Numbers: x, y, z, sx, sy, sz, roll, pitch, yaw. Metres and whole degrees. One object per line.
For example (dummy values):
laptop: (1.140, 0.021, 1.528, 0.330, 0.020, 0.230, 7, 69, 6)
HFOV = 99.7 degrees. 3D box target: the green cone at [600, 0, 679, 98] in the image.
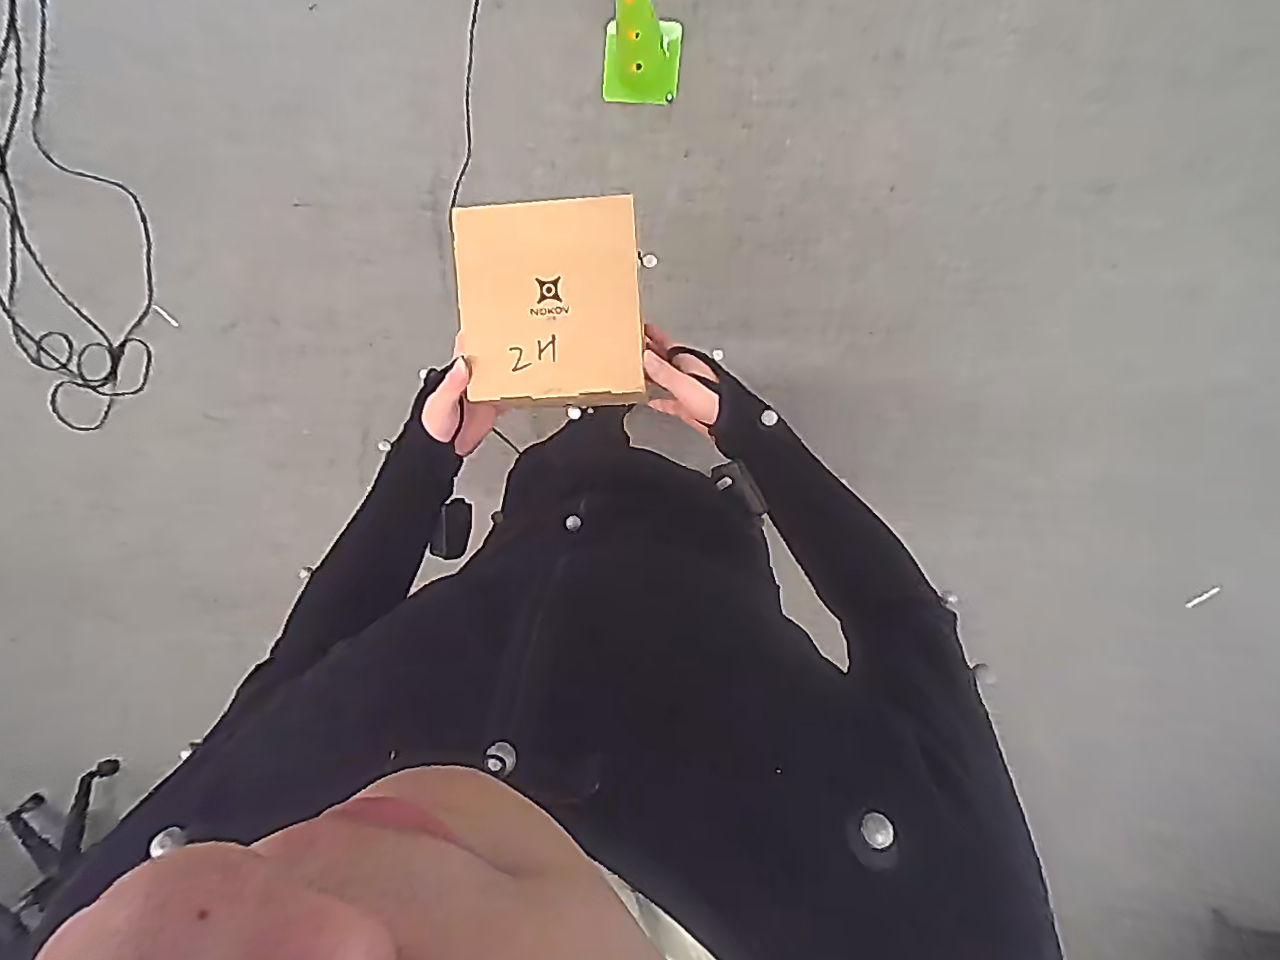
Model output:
green cone: (-0.020, -1.103, 1.269, 0.202, 0.368, 0.200, 6, 98, 5)
